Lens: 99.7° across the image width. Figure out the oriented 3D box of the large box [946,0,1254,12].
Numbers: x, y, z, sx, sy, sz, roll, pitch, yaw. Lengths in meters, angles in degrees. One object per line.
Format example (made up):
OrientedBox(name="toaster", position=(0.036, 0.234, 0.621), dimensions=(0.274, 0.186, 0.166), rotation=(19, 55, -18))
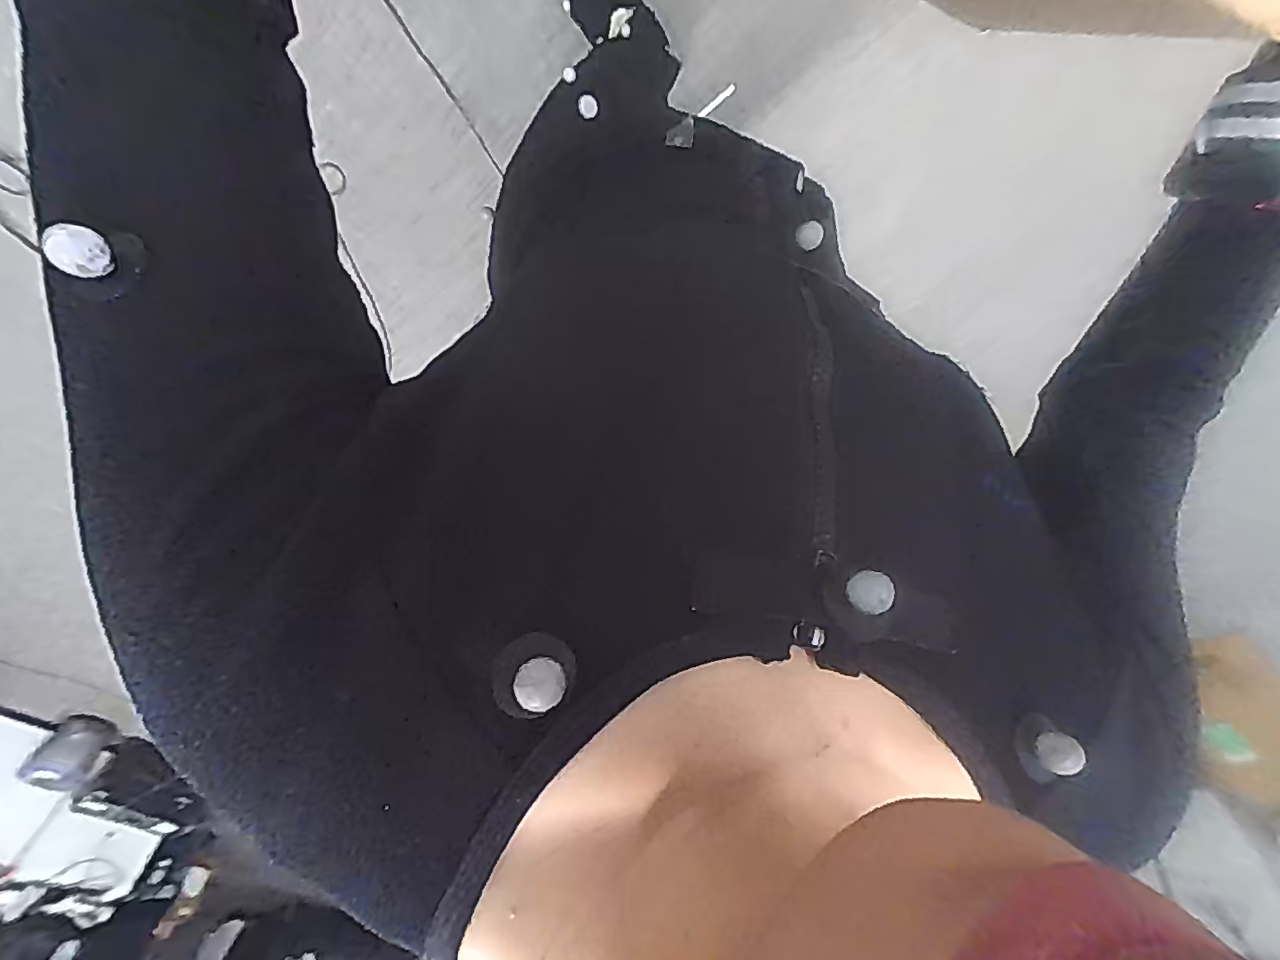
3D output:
OrientedBox(name="large box", position=(0.179, -0.498, 0.259), dimensions=(0.408, 0.320, 0.320), rotation=(14, 129, -14))
